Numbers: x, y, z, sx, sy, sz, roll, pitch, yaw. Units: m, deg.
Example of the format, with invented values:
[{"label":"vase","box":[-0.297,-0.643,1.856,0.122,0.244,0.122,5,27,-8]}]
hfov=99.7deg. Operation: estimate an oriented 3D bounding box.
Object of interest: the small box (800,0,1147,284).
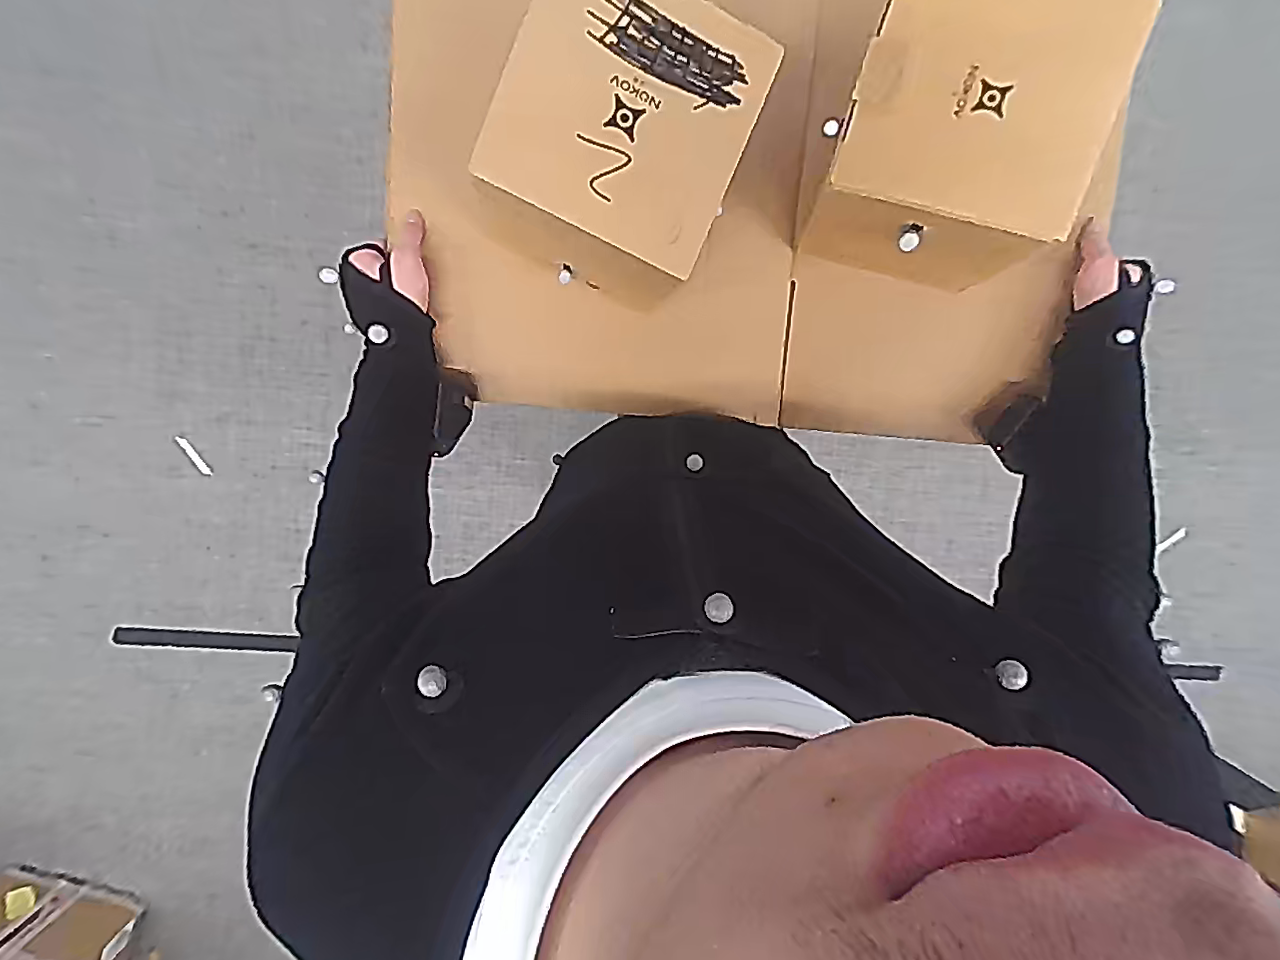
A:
[{"label":"small box","box":[0.260,-0.287,0.475,0.179,0.176,0.168,18,99,6]}]
